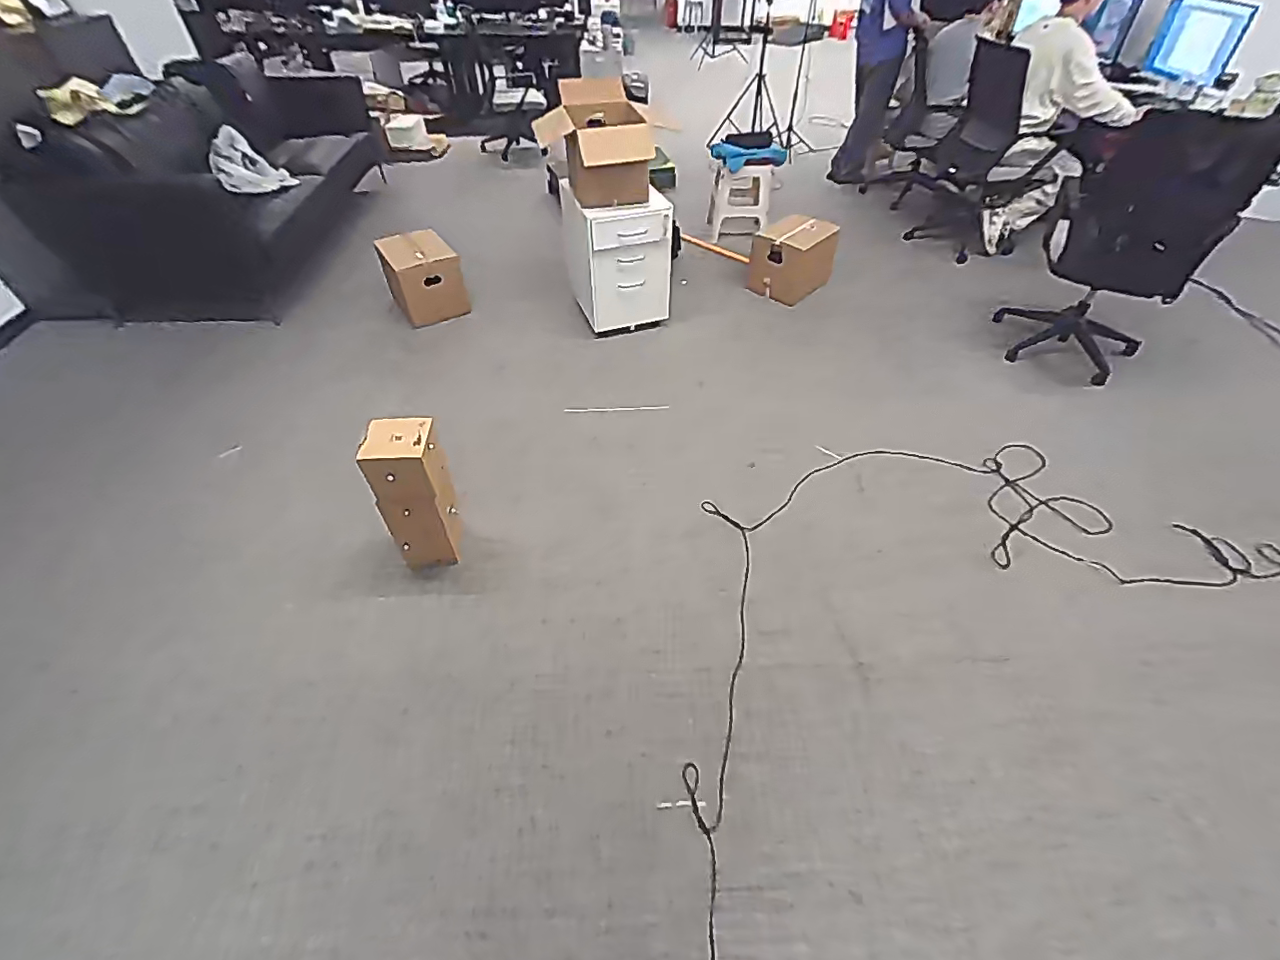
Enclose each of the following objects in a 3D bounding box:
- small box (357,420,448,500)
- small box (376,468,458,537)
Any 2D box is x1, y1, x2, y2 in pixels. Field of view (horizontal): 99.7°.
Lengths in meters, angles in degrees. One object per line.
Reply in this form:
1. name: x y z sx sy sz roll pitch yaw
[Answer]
1. small box: -0.676 -0.055 1.560 0.179 0.176 0.168 -3 47 -2
2. small box: -0.682 0.065 1.673 0.179 0.176 0.168 -2 47 -3
